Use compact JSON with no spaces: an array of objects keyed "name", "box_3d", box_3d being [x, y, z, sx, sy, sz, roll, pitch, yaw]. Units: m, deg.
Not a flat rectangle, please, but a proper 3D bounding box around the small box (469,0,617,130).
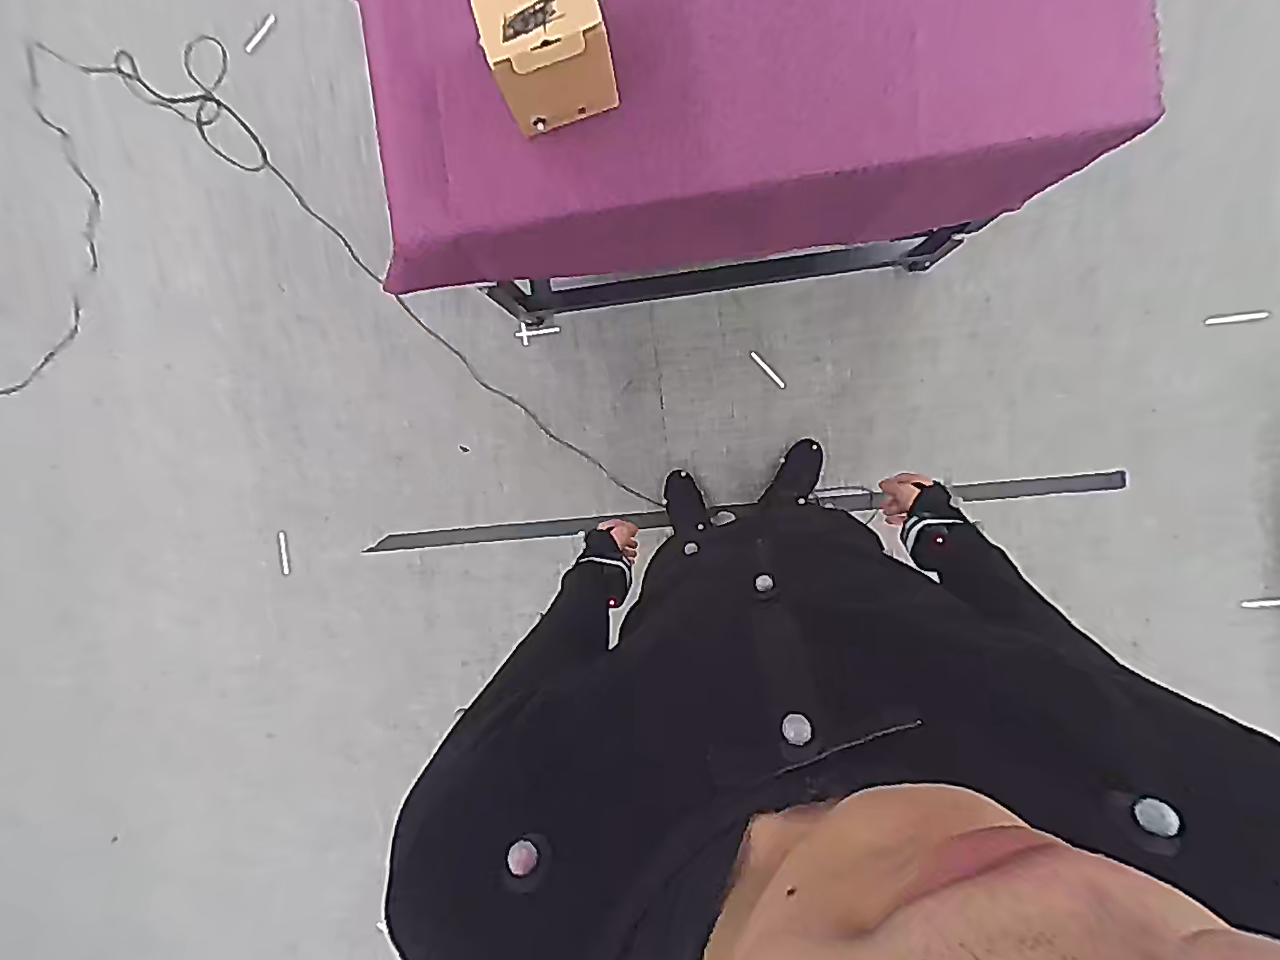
[{"name":"small box","box_3d":[-0.140,-0.655,0.795,0.168,0.176,0.179,-16,91,5]}]
